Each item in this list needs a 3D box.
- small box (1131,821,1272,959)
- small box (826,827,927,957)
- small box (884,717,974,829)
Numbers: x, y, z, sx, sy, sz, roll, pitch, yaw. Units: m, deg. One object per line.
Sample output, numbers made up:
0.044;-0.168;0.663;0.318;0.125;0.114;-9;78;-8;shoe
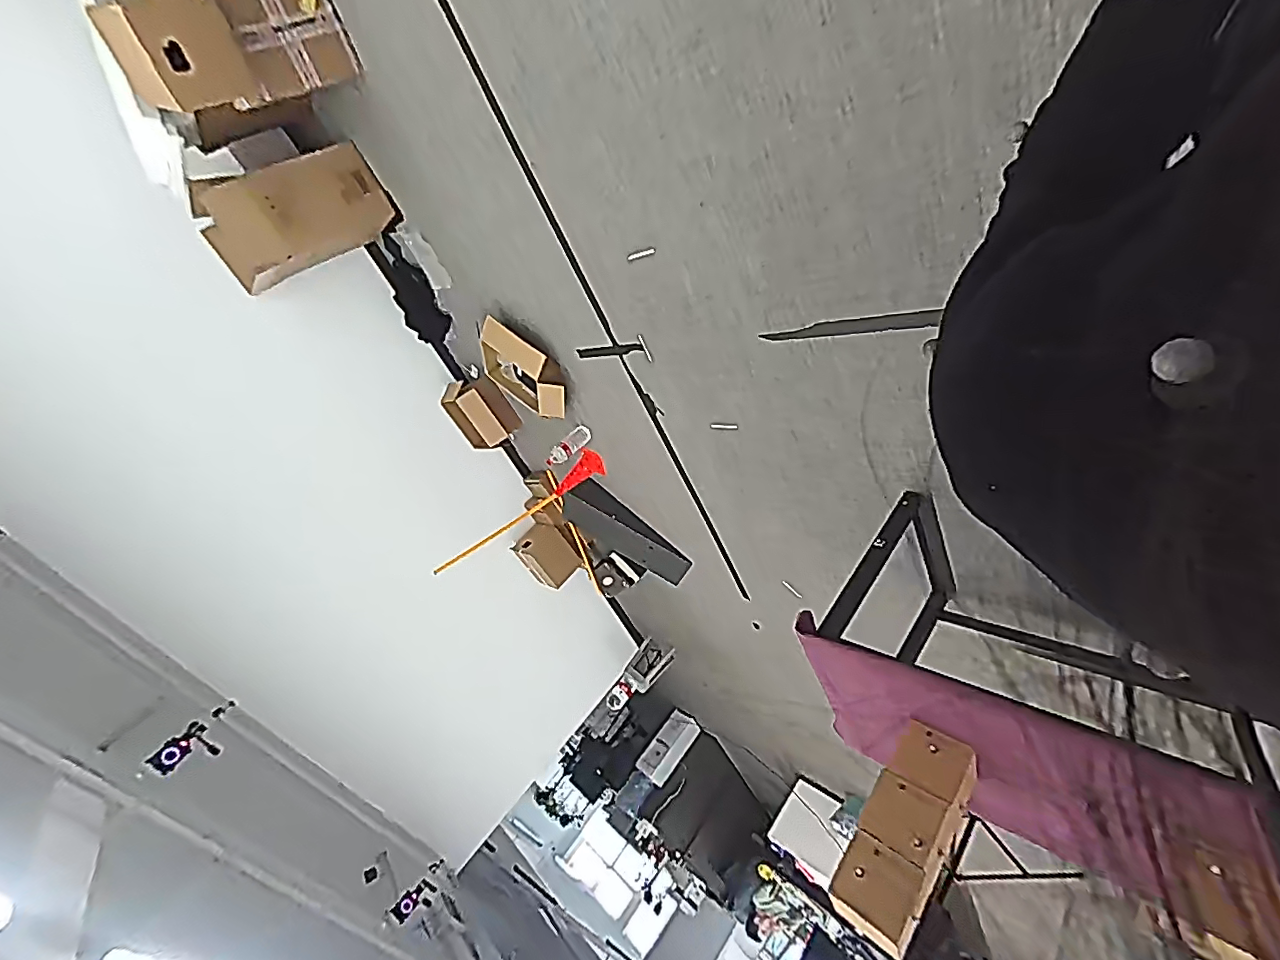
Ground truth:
1.096;0.823;1.059;0.168;0.176;0.179;12;138;48;small box
0.574;0.985;1.305;0.168;0.176;0.179;18;144;44;small box
0.782;0.783;1.456;0.168;0.176;0.179;15;140;45;small box
